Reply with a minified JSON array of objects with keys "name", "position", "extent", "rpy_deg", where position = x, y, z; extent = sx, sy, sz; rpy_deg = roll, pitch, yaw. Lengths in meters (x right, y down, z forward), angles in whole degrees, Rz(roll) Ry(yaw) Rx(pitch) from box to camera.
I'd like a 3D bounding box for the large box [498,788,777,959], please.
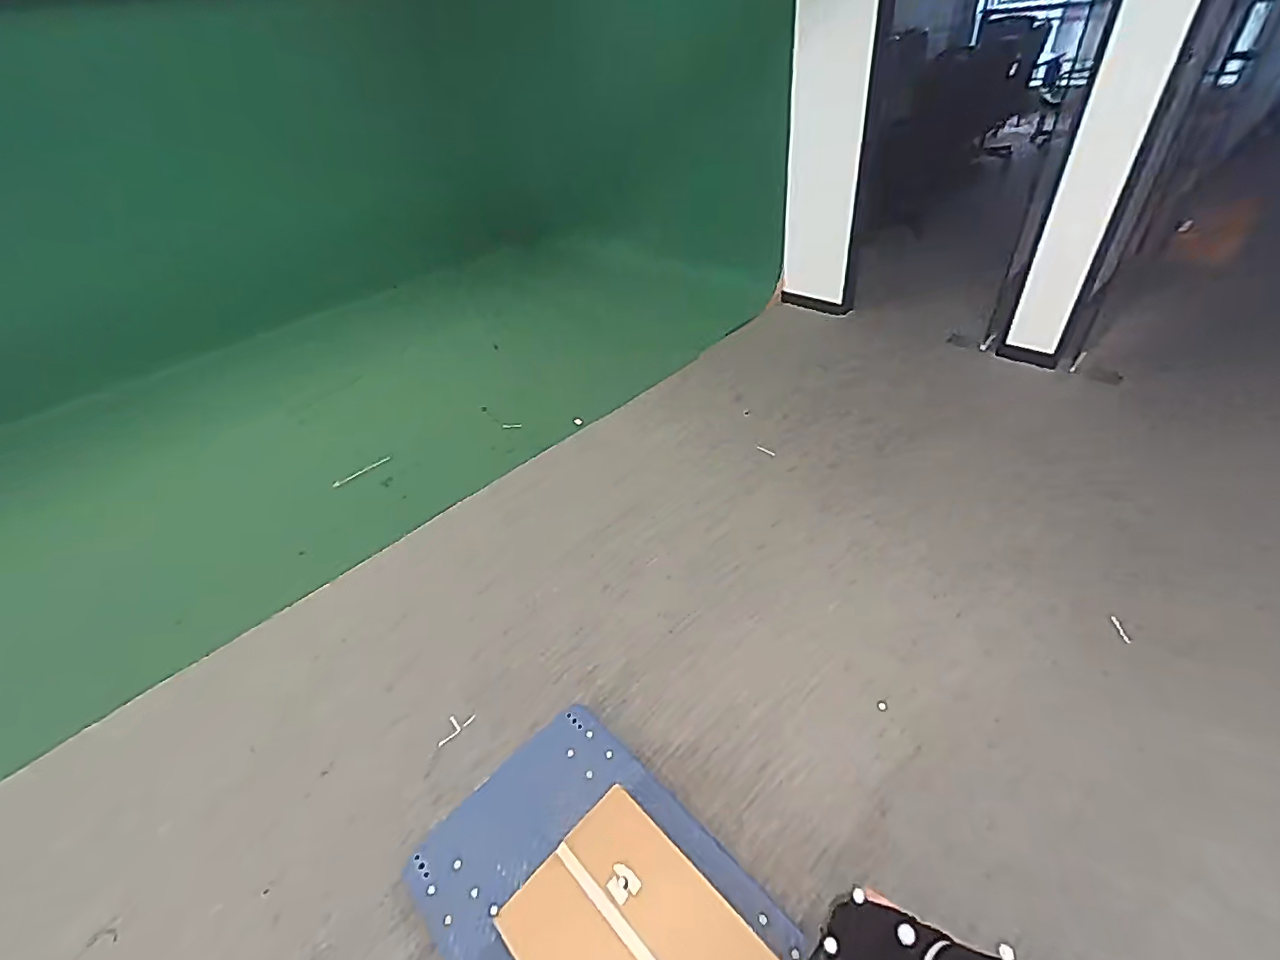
[{"name":"large box","position":[0.006,0.905,1.028],"extent":[0.320,0.320,0.408],"rpy_deg":[-36,46,-29]}]
